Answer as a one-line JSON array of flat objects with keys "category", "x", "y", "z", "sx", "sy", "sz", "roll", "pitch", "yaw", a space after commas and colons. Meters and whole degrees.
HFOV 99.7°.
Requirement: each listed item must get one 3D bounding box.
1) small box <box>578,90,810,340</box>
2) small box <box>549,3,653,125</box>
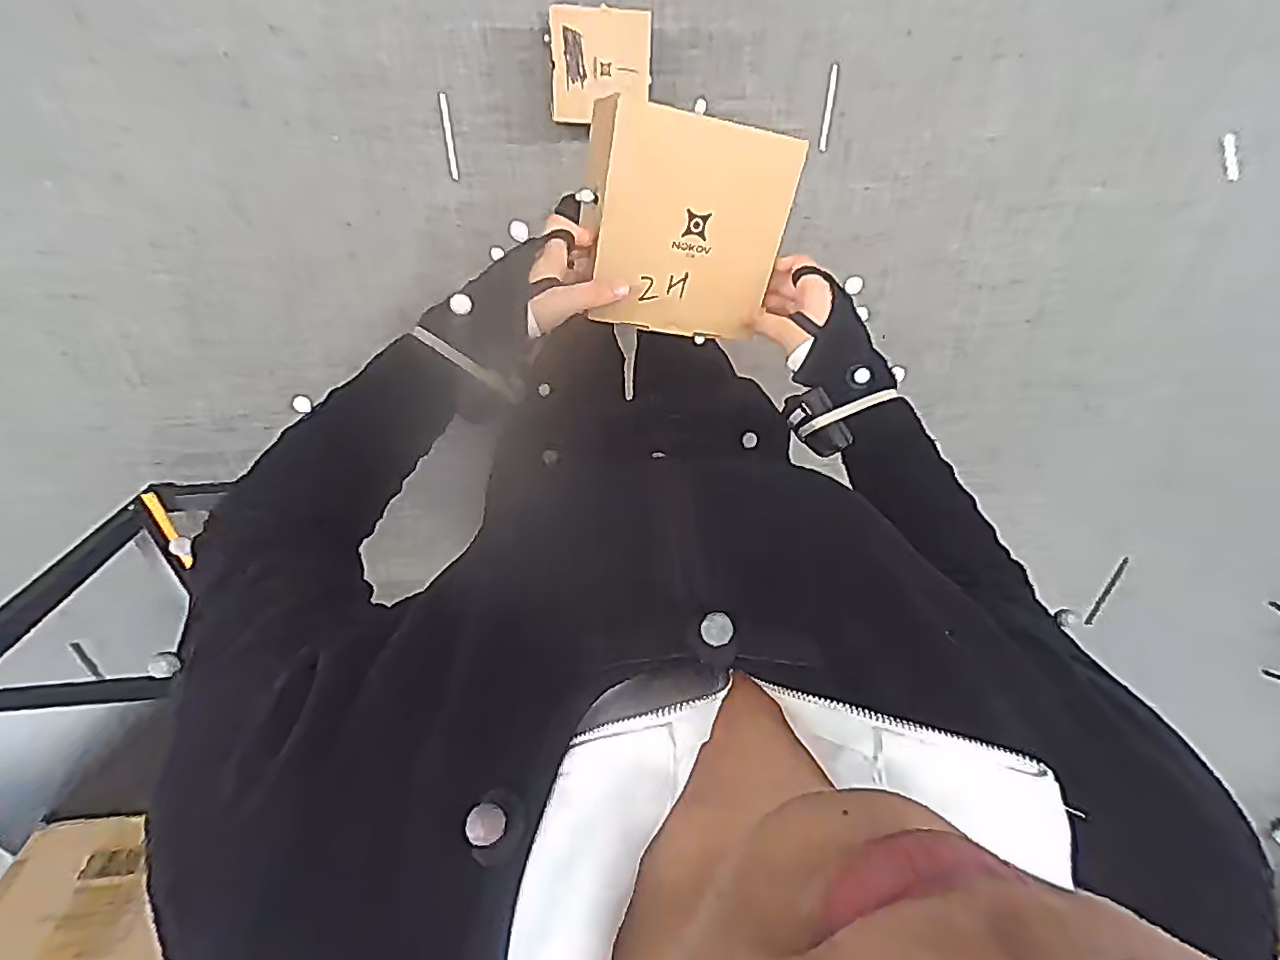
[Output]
[{"category": "small box", "x": 0.034, "y": -0.260, "z": 0.537, "sx": 0.168, "sy": 0.176, "sz": 0.179, "roll": 4, "pitch": 123, "yaw": -15}, {"category": "small box", "x": -0.076, "y": -0.763, "z": 1.011, "sx": 0.179, "sy": 0.176, "sz": 0.168, "roll": -1, "pitch": 124, "yaw": -7}]
